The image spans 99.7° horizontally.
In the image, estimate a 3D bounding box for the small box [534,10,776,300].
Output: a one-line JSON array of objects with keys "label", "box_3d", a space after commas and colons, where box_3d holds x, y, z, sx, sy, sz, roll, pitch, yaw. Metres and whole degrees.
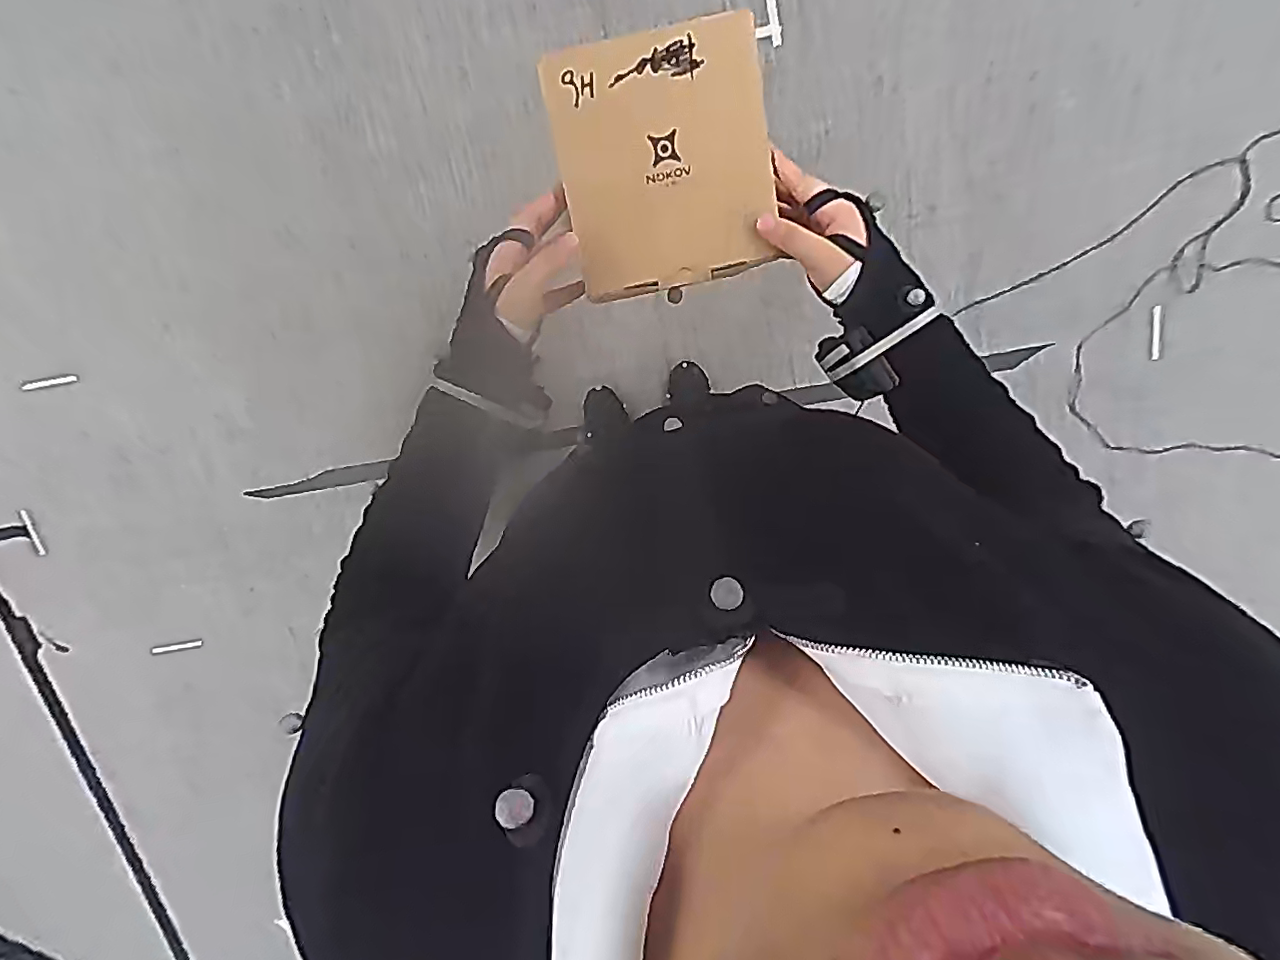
[{"label": "small box", "box_3d": [0.015, -0.272, 0.497, 0.168, 0.176, 0.179, -12, 108, 1]}]
